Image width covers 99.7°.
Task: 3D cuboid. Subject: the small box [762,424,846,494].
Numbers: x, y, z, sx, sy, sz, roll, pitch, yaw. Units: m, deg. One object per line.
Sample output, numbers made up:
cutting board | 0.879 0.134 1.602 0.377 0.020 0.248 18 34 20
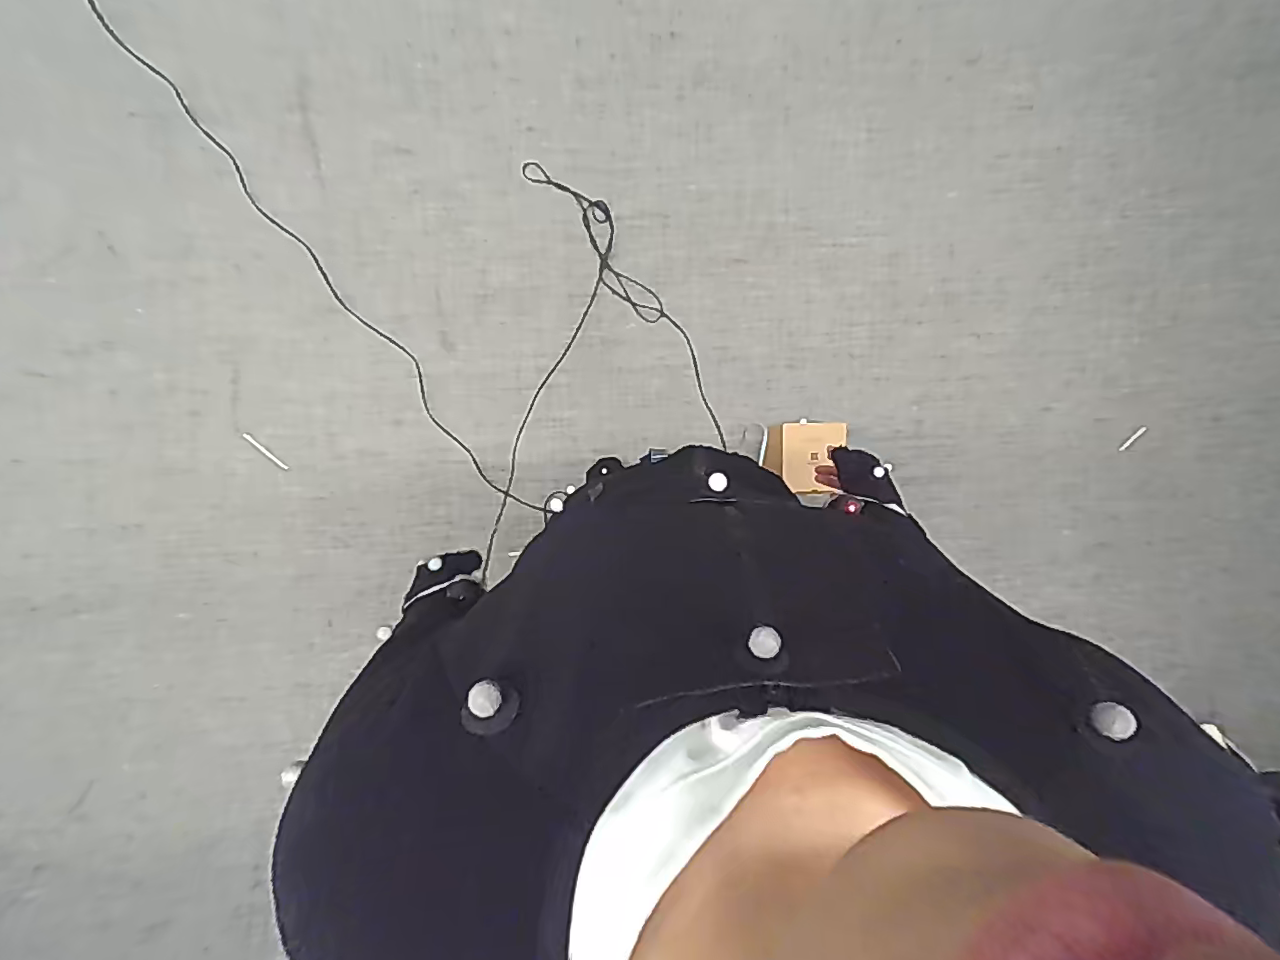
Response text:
small box | 0.426 -0.057 1.427 0.168 0.176 0.179 0 93 -4
